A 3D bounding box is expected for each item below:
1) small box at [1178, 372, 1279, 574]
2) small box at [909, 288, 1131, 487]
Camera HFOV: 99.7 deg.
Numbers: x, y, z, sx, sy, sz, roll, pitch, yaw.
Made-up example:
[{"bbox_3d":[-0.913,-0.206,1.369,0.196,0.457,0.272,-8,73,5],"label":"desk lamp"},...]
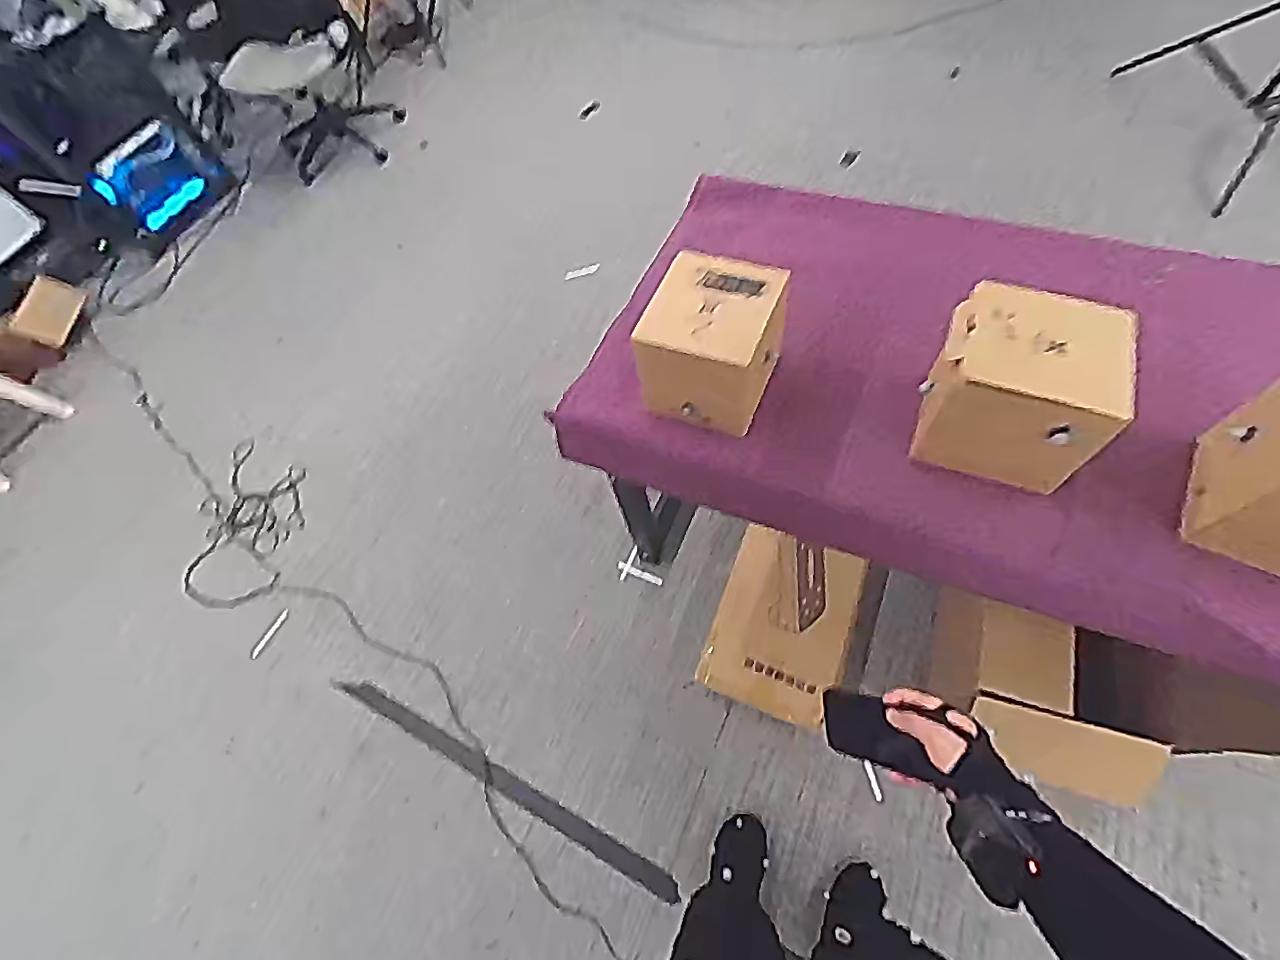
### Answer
[{"bbox_3d":[0.752,0.001,0.589,0.179,0.176,0.168,25,68,20],"label":"small box"},{"bbox_3d":[0.473,-0.112,0.693,0.179,0.176,0.168,18,63,18],"label":"small box"}]
